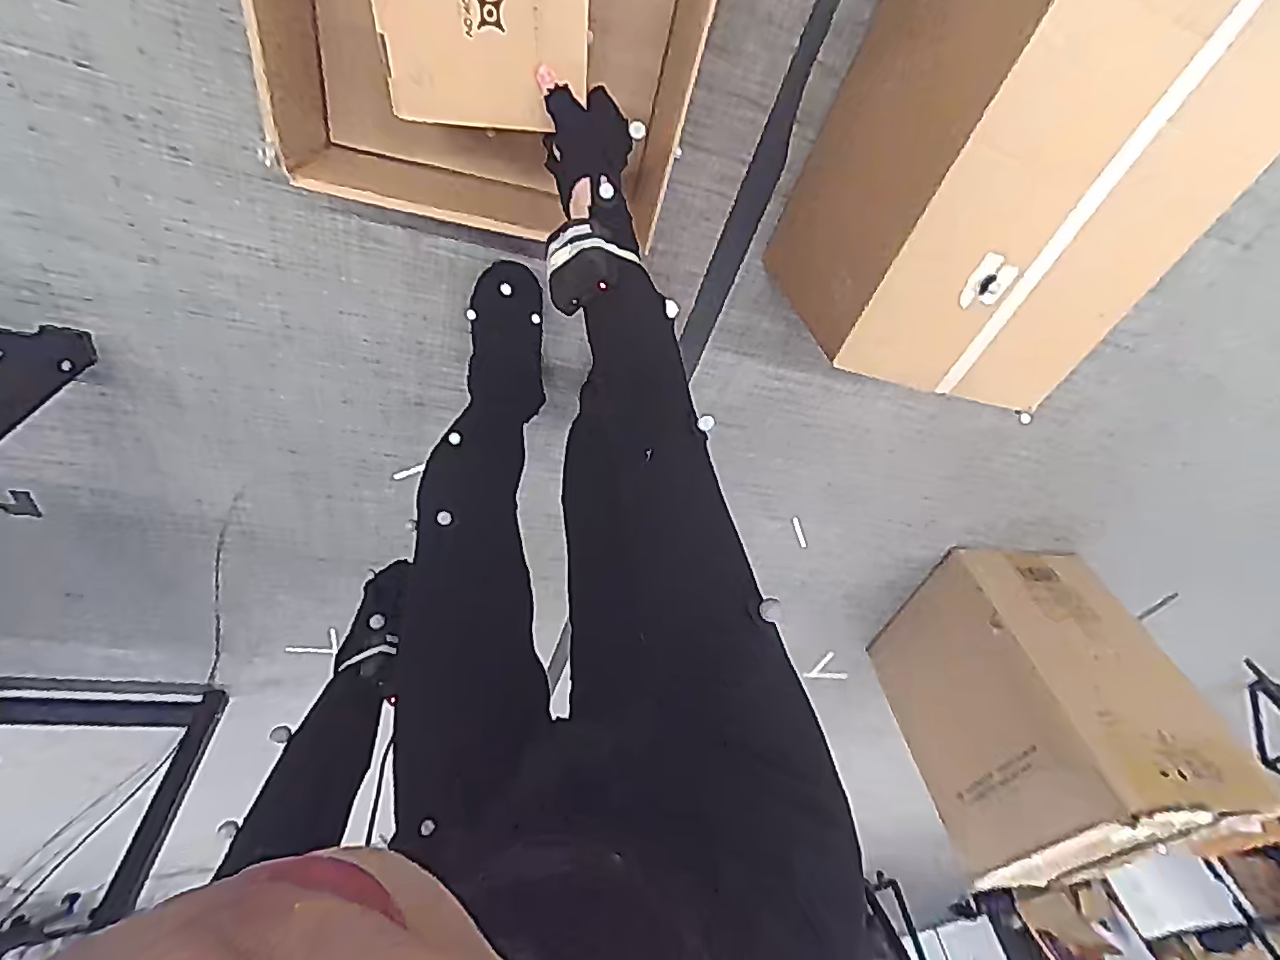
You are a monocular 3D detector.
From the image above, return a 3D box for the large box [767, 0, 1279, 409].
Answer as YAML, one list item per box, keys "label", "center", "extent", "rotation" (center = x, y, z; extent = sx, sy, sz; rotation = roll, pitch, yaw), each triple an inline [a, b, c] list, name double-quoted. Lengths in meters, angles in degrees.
- label: "large box"
  center: [0.407, -0.357, 0.651]
  extent: [0.320, 0.320, 0.408]
  rotation: [9, 132, -15]
